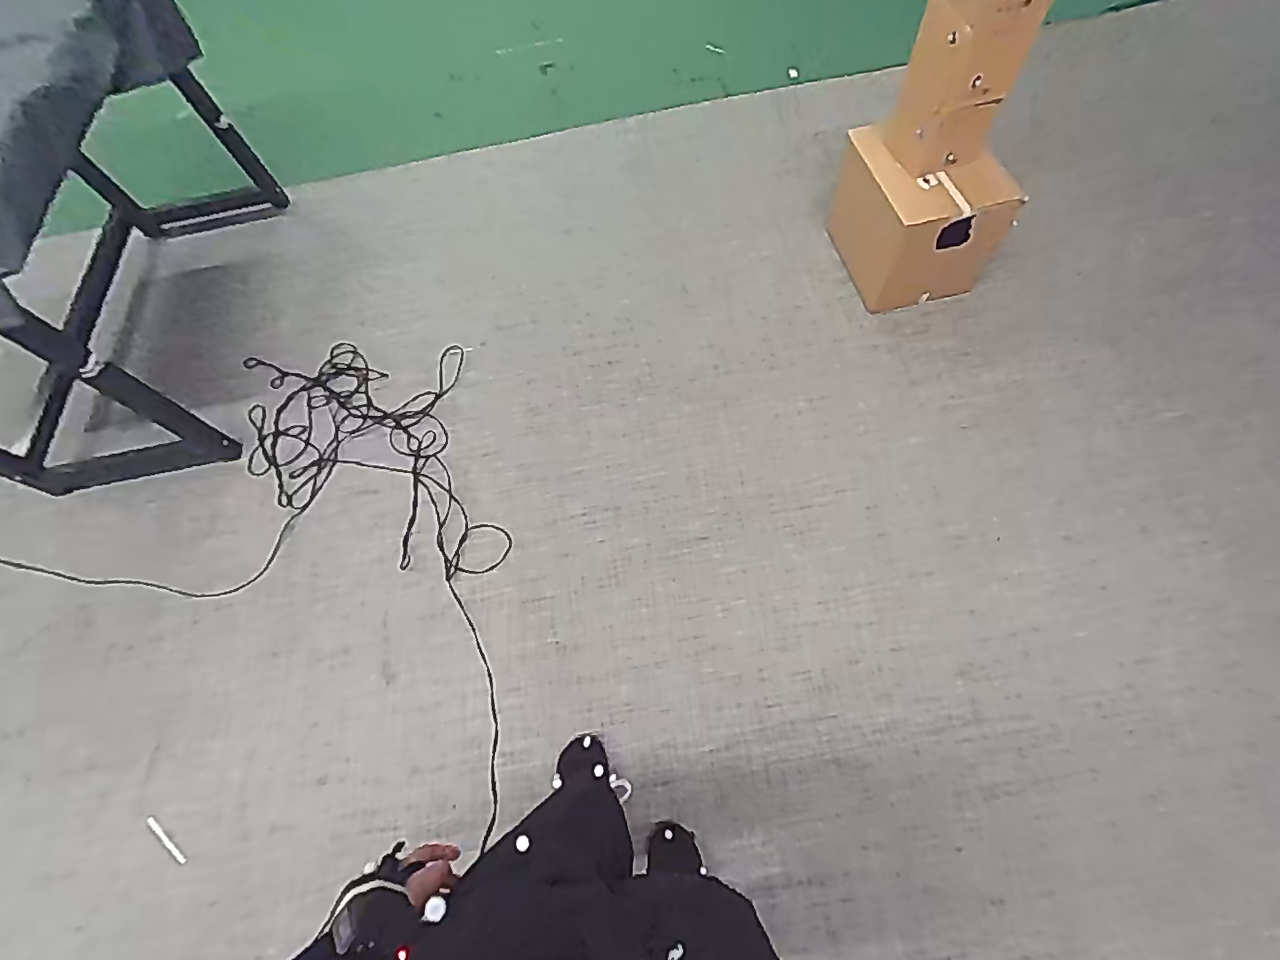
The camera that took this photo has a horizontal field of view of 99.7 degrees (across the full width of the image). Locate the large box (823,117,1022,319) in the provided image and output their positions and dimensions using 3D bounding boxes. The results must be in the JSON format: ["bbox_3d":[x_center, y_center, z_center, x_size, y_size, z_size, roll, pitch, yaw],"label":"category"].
[{"bbox_3d":[0.774,-0.746,1.560,0.320,0.320,0.408,-14,65,1],"label":"large box"}]

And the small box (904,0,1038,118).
[{"bbox_3d":[0.726,-0.958,1.214,0.168,0.176,0.179,-14,65,-1],"label":"small box"}]

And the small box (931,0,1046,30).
[{"bbox_3d":[0.714,-1.029,1.068,0.168,0.176,0.179,-14,64,-2],"label":"small box"}]
